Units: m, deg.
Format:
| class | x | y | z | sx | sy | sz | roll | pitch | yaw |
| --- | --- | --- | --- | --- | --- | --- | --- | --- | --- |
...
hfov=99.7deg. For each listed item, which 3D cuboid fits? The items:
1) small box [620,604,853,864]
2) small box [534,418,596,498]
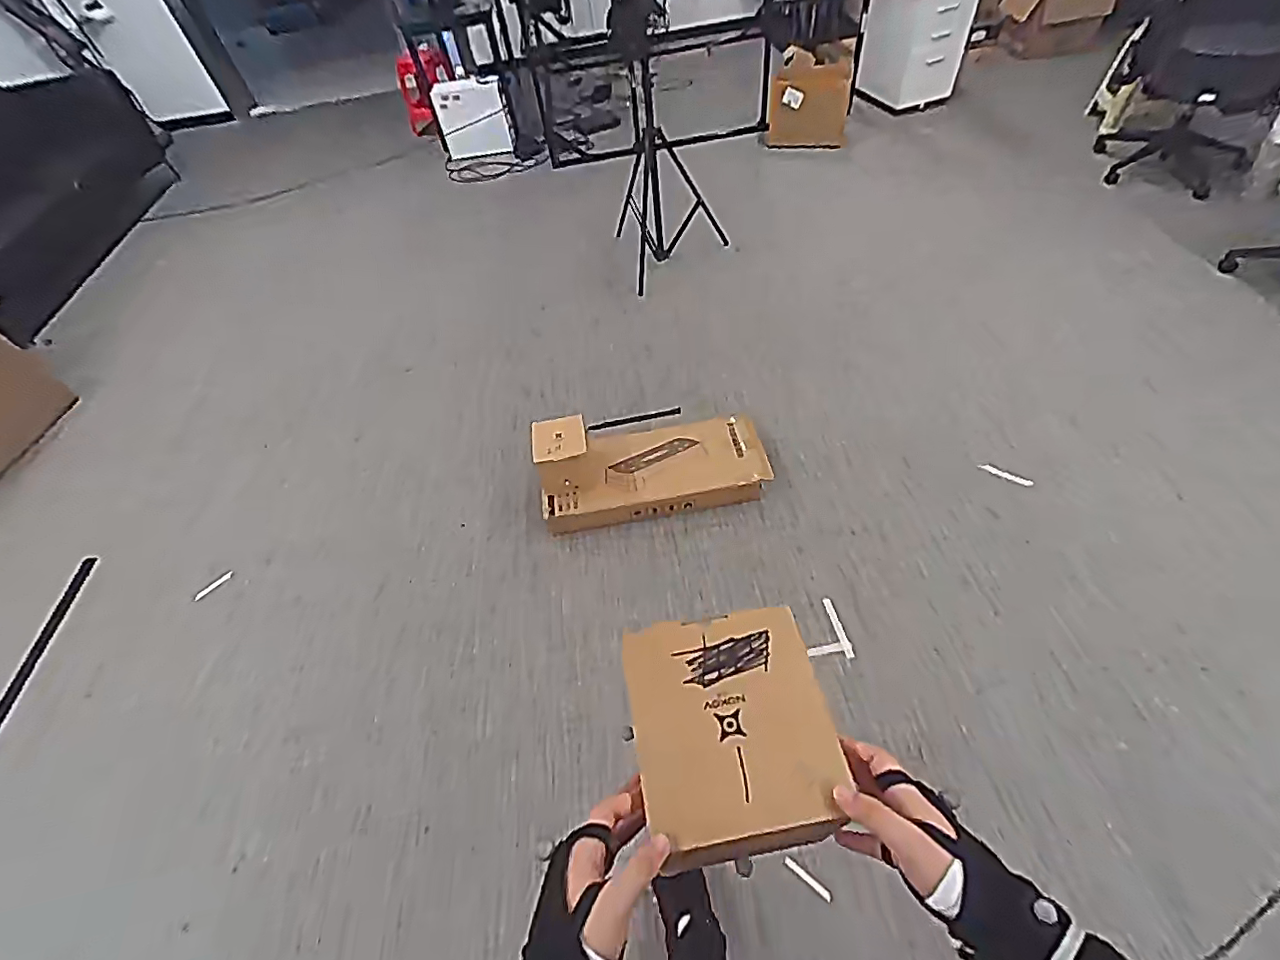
| class | x | y | z | sx | sy | sz | roll | pitch | yaw |
| --- | --- | --- | --- | --- | --- | --- | --- | --- | --- |
| small box | 0.076 | 0.247 | 0.525 | 0.168 | 0.176 | 0.179 | -10 | 50 | -3 |
| small box | -0.241 | -0.069 | 1.730 | 0.168 | 0.176 | 0.179 | -11 | 51 | -1 |
